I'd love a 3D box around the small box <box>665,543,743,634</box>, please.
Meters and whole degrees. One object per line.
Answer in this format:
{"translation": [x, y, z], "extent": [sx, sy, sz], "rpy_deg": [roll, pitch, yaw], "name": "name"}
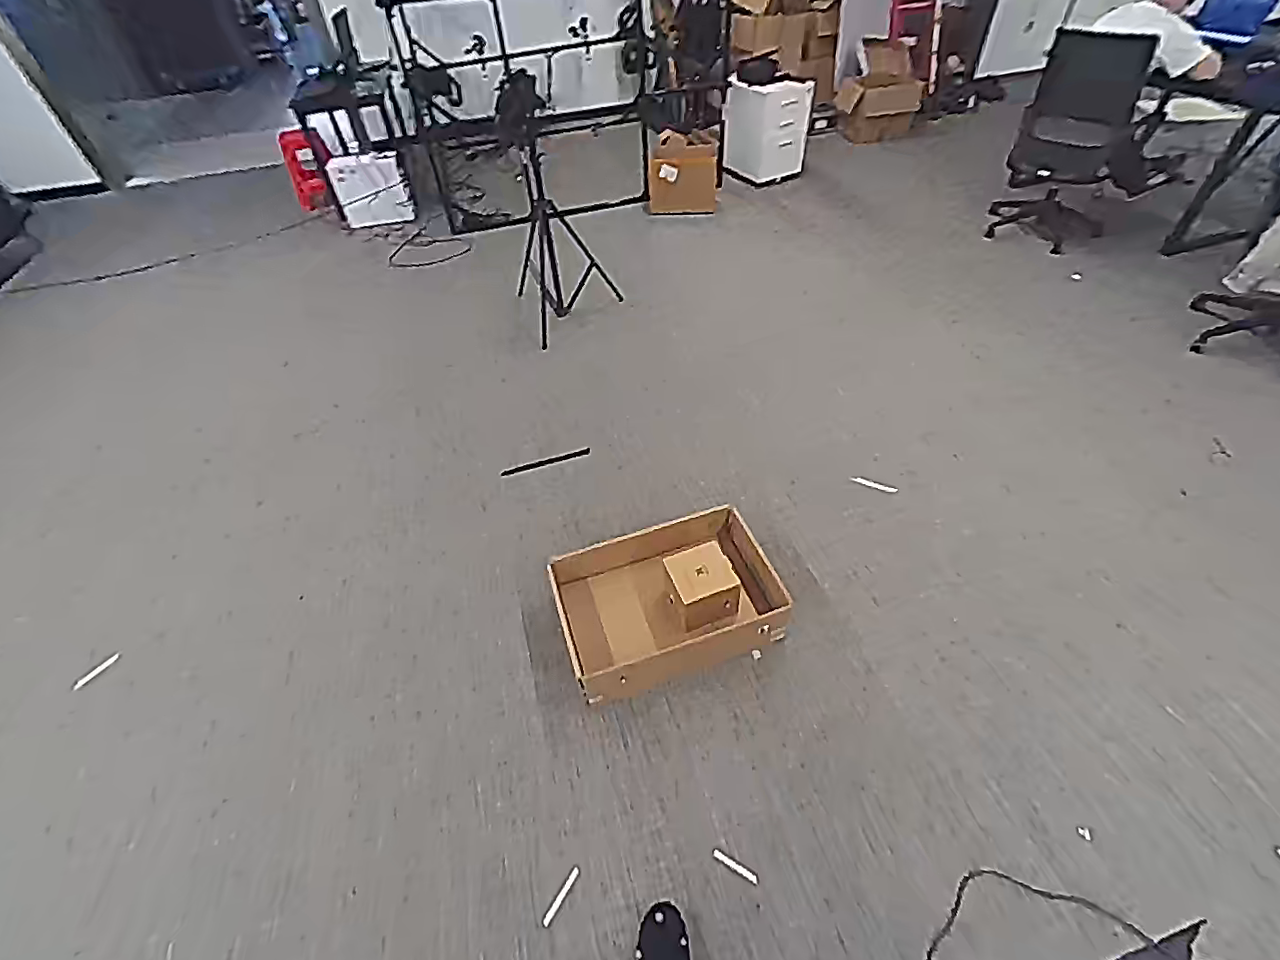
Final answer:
{"translation": [0.184, 0.321, 1.593], "extent": [0.179, 0.176, 0.168], "rpy_deg": [-19, 47, -11], "name": "small box"}
